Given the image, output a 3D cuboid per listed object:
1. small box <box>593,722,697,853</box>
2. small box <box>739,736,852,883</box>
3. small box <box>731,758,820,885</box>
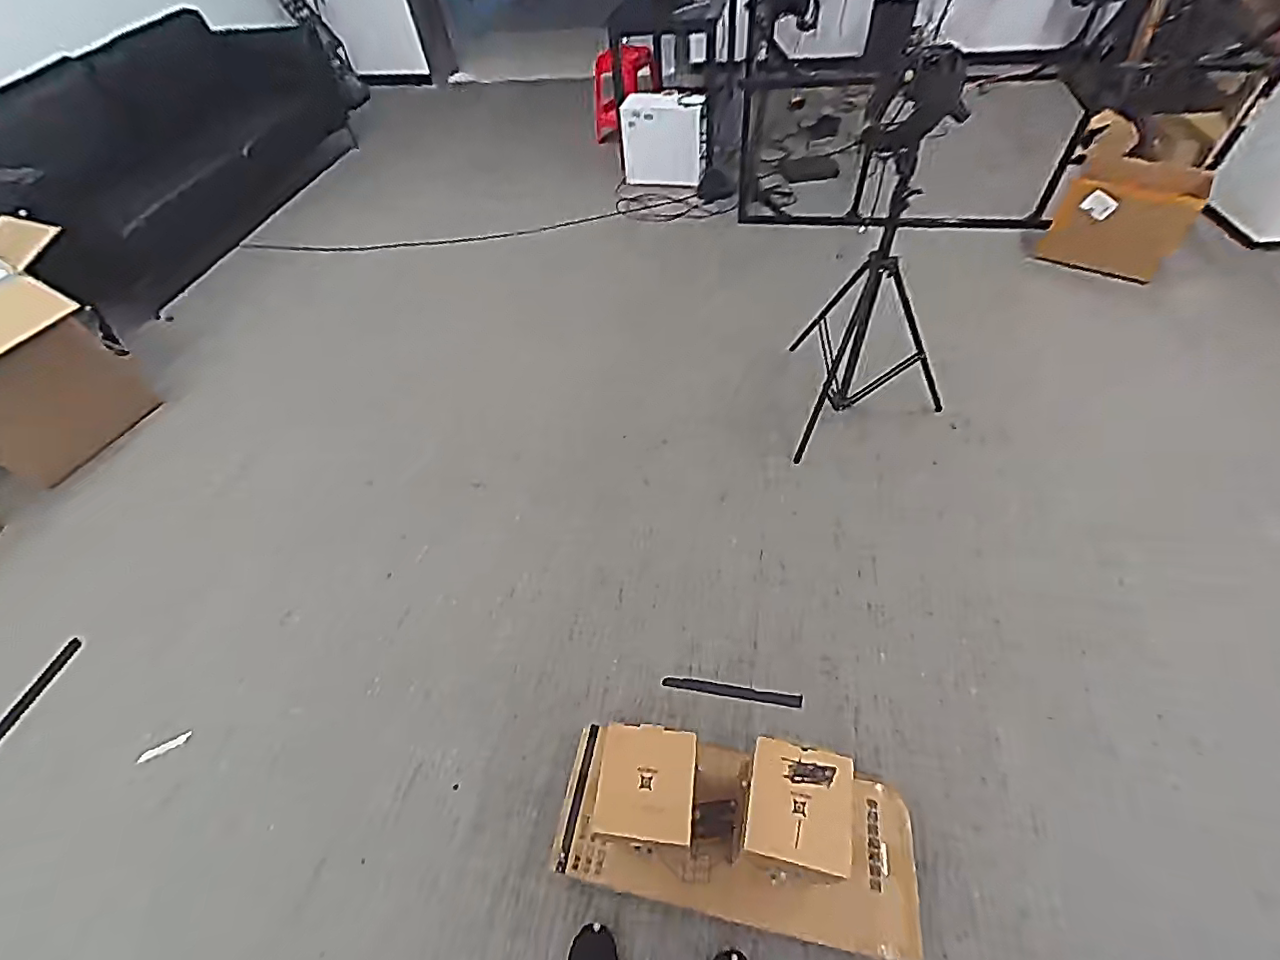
[{"bbox_3d":[0.017,0.566,0.995,0.168,0.176,0.179,2,53,8],"label":"small box"},{"bbox_3d":[0.270,0.583,0.955,0.168,0.176,0.179,8,53,13],"label":"small box"},{"bbox_3d":[0.274,0.685,1.084,0.168,0.176,0.179,5,52,11],"label":"small box"}]
